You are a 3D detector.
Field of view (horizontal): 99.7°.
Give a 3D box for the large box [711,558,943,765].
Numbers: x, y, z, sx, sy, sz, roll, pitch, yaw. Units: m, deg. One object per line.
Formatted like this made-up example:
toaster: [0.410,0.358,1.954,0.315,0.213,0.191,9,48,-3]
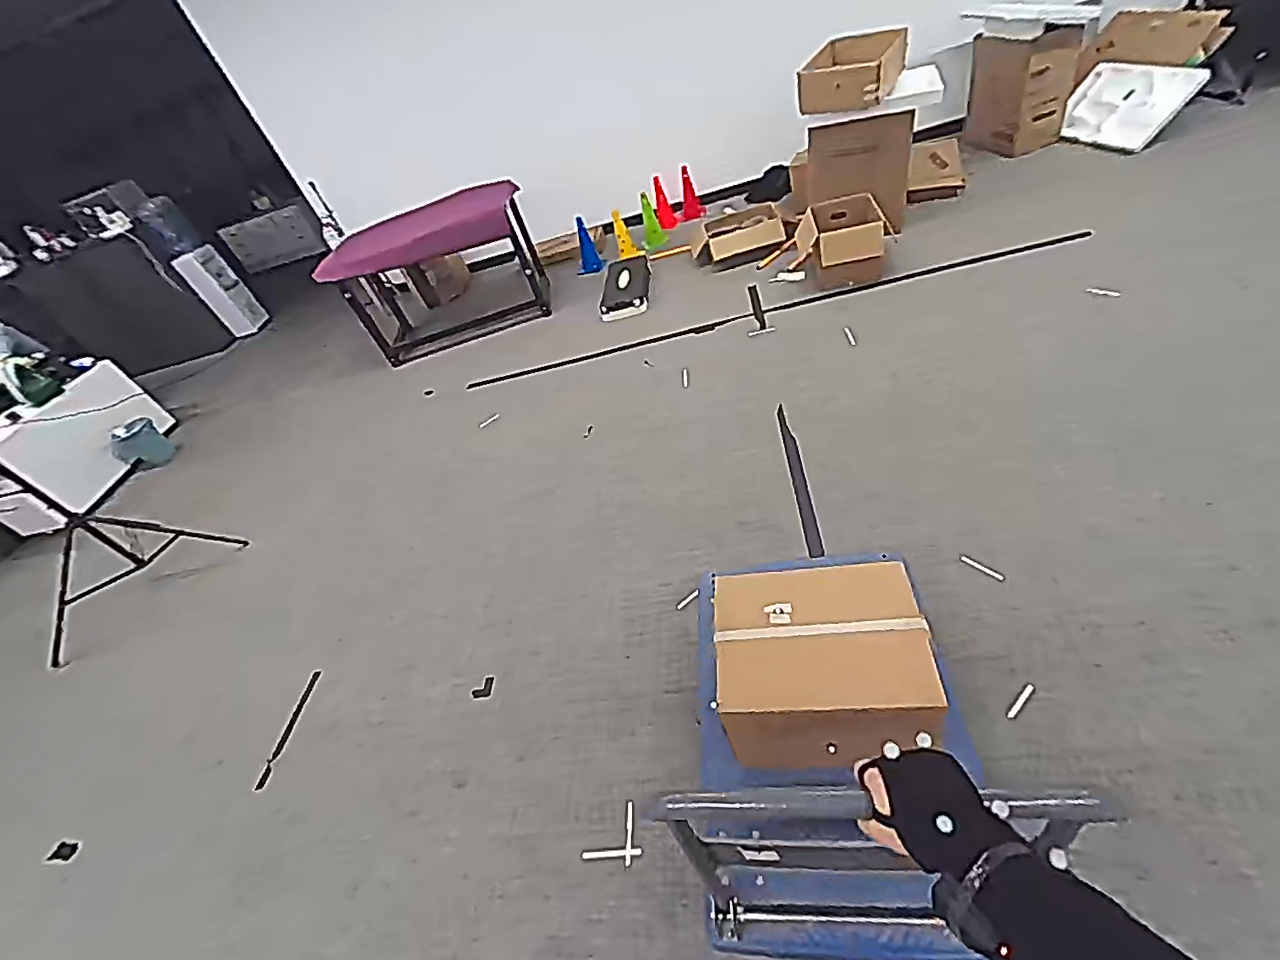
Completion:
large box: [0.387,0.405,1.178,0.408,0.320,0.320,-9,42,15]
